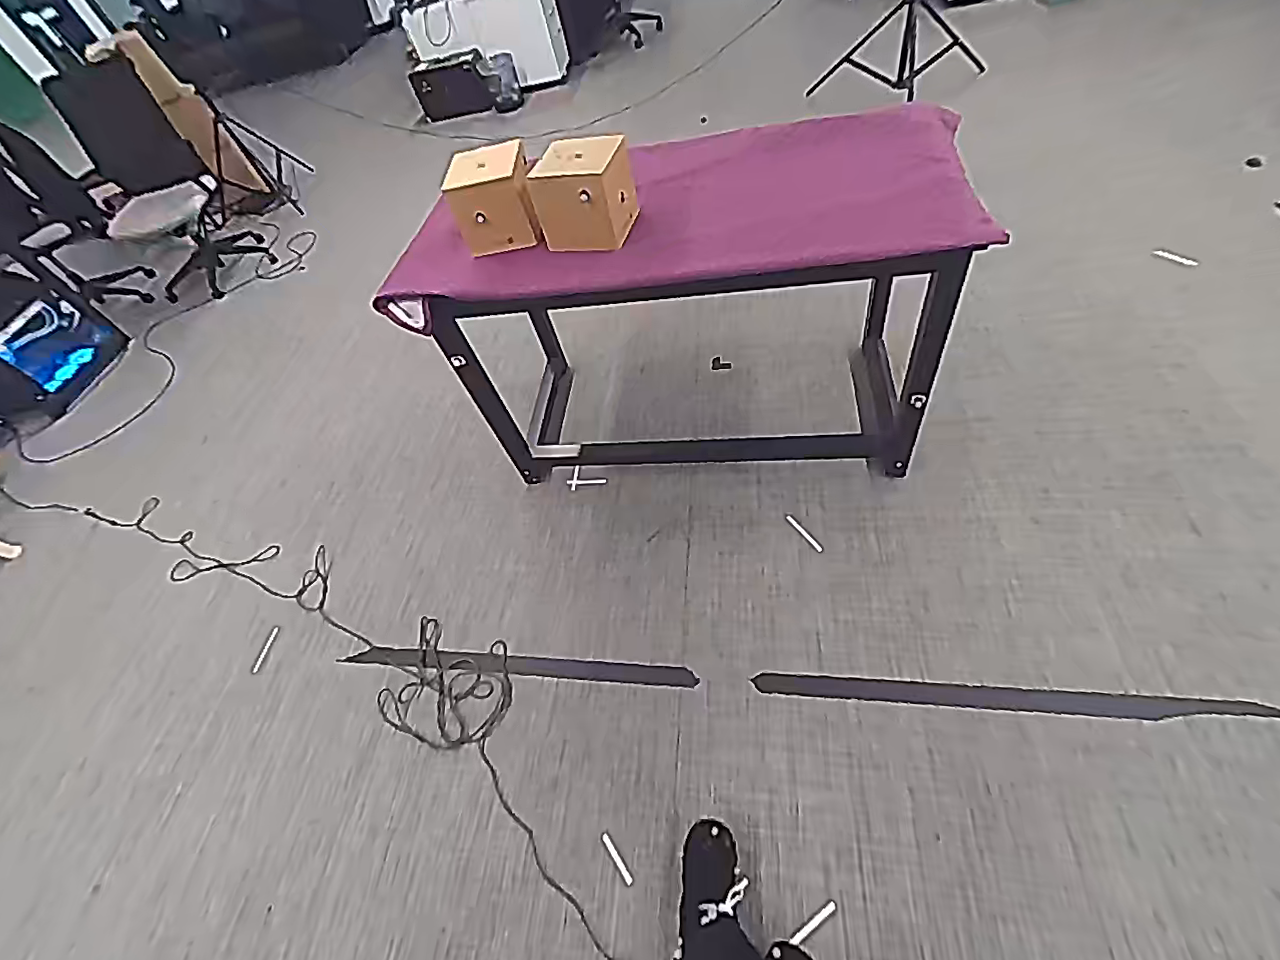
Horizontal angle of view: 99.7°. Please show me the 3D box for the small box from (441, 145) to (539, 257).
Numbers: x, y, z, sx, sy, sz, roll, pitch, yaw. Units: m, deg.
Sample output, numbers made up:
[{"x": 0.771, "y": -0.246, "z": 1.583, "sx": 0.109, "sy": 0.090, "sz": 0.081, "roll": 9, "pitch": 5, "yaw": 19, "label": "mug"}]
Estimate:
[{"x": -0.343, "y": -0.650, "z": 1.280, "sx": 0.168, "sy": 0.176, "sz": 0.179, "roll": -8, "pitch": 53, "yaw": 8, "label": "small box"}]

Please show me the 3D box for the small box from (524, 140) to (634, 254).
[{"x": -0.124, "y": -0.624, "z": 1.205, "sx": 0.179, "sy": 0.176, "sz": 0.168, "roll": 6, "pitch": 55, "yaw": 19, "label": "small box"}]
